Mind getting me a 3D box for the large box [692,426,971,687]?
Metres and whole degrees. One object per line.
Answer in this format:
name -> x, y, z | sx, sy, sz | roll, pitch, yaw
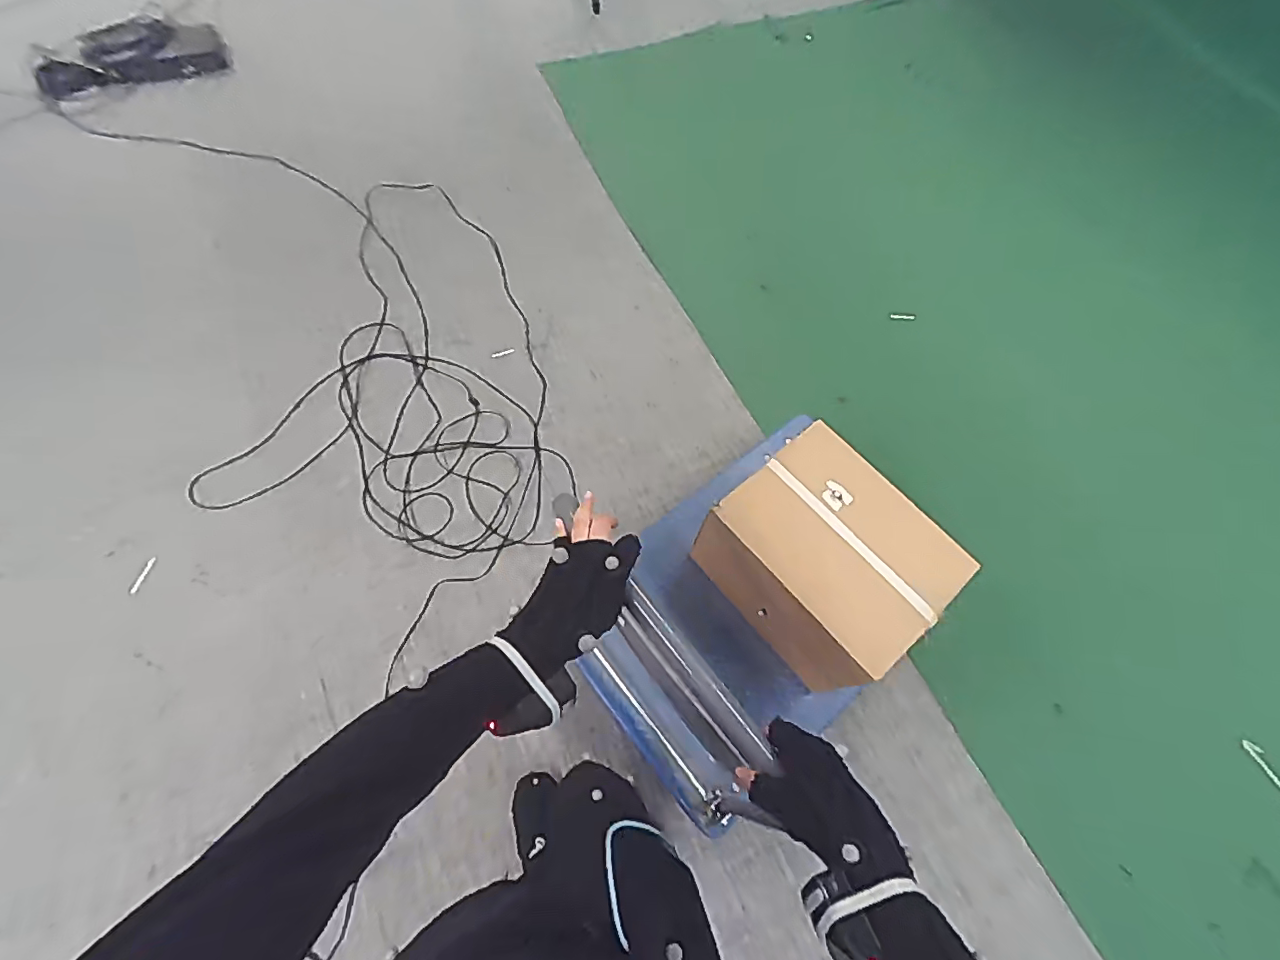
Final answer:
large box -> 0.369, 0.172, 1.148 | 0.320, 0.320, 0.408 | -37, 72, -19
